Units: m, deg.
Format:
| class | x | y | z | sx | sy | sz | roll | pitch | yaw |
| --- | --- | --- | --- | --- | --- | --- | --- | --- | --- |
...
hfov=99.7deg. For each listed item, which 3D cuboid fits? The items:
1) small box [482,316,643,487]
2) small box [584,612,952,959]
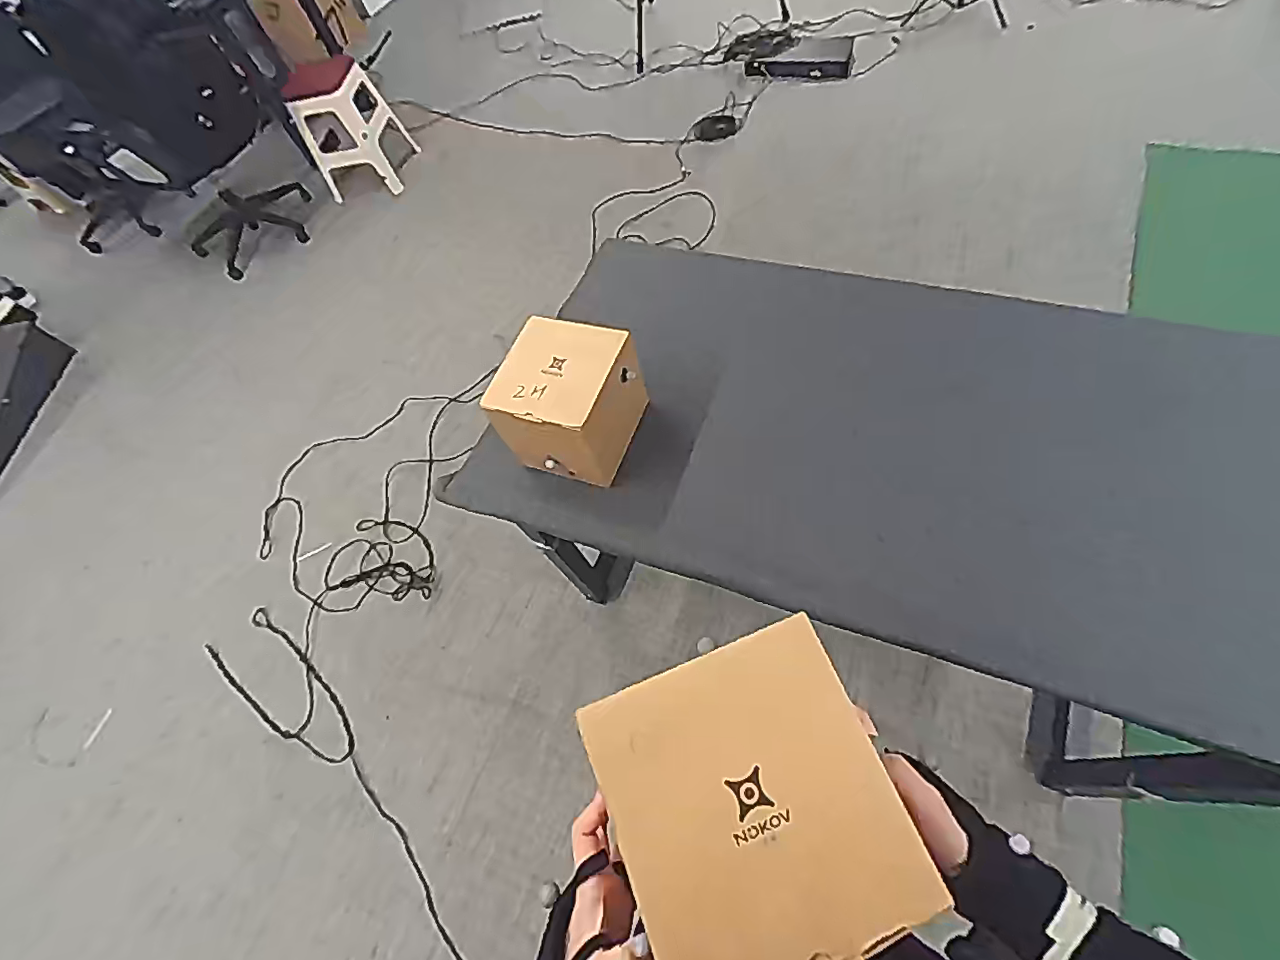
| class | x | y | z | sx | sy | sz | roll | pitch | yaw |
| --- | --- | --- | --- | --- | --- | --- | --- | --- | --- |
| small box | -0.103 | -0.117 | 0.826 | 0.168 | 0.176 | 0.179 | 15 | 65 | 19 |
| small box | 0.068 | 0.219 | 0.392 | 0.168 | 0.176 | 0.179 | -21 | 69 | -8 |
